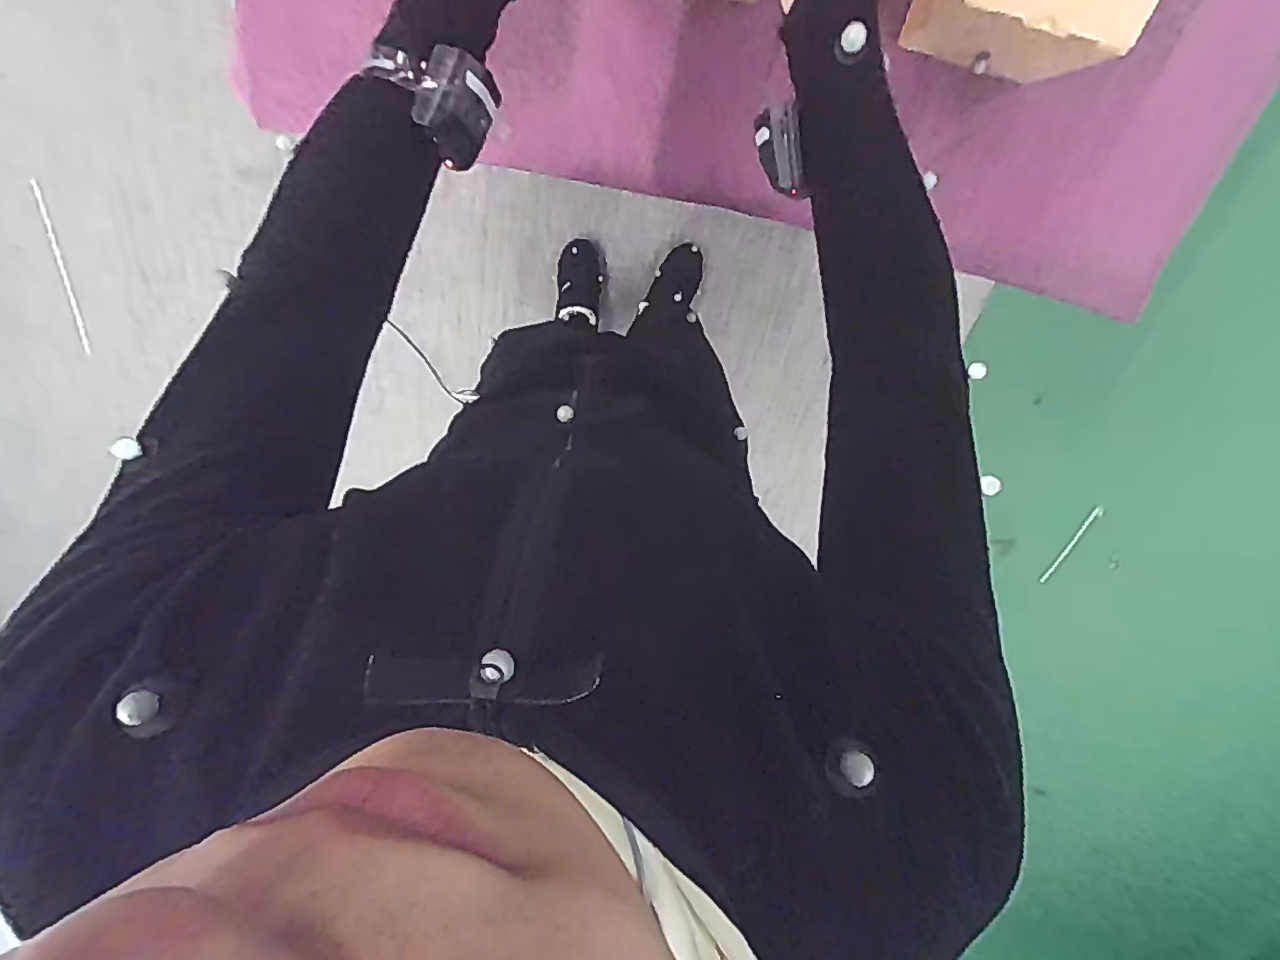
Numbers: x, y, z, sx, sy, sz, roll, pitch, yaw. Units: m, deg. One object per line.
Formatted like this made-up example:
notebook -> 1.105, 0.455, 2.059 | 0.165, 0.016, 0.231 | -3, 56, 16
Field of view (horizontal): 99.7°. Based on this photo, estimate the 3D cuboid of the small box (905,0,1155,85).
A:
small box -> 0.390, -0.518, 0.522 | 0.168, 0.176, 0.179 | 14, 119, -3
